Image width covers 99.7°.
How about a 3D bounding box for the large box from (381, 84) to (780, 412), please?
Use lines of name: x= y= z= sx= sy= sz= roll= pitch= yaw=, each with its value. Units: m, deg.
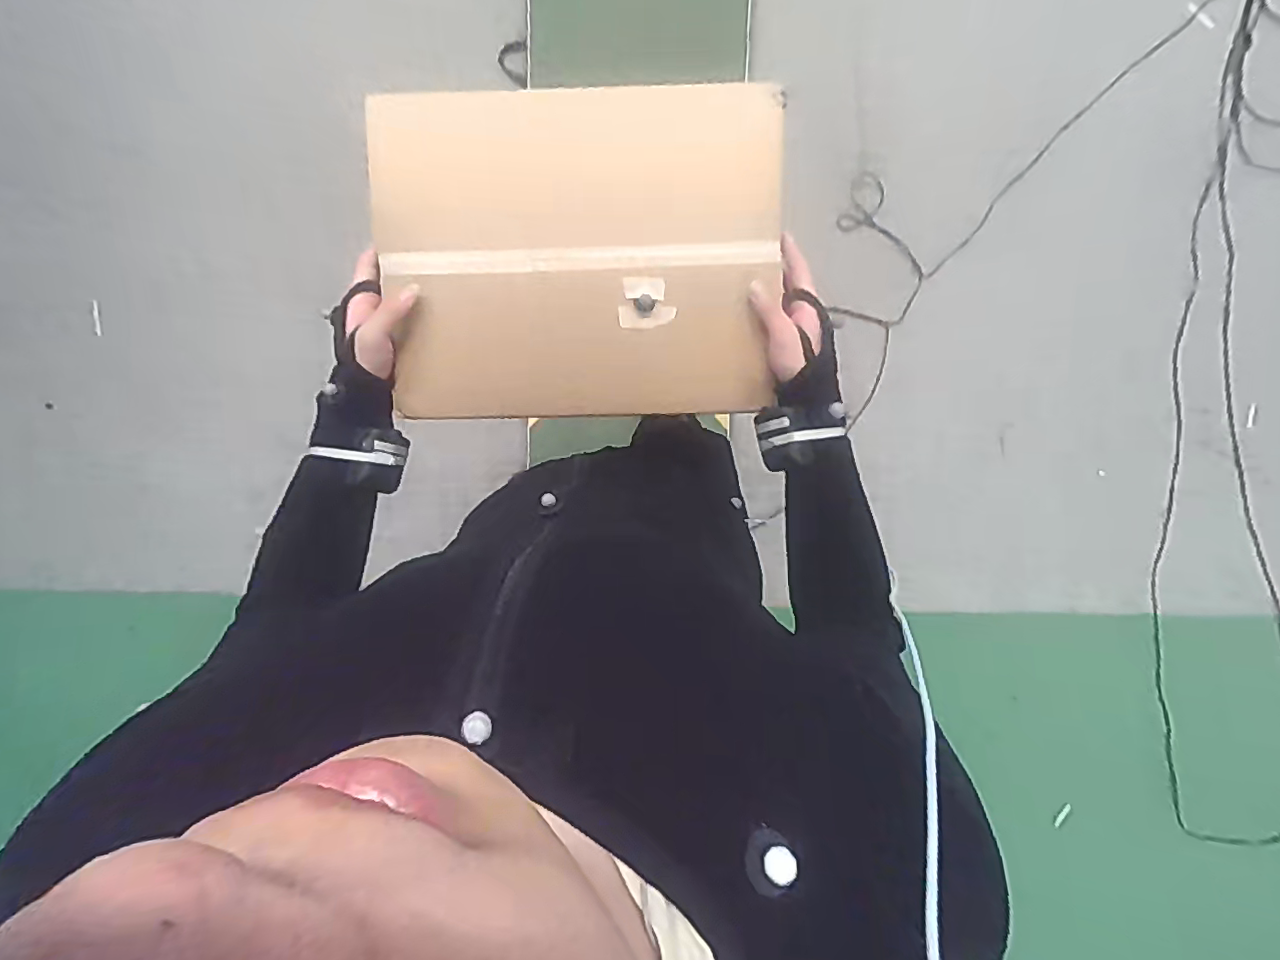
large box: x=-0.057 y=-0.253 z=0.701 sx=0.408 sy=0.320 sz=0.320 roll=-1 pitch=99 yaw=0
